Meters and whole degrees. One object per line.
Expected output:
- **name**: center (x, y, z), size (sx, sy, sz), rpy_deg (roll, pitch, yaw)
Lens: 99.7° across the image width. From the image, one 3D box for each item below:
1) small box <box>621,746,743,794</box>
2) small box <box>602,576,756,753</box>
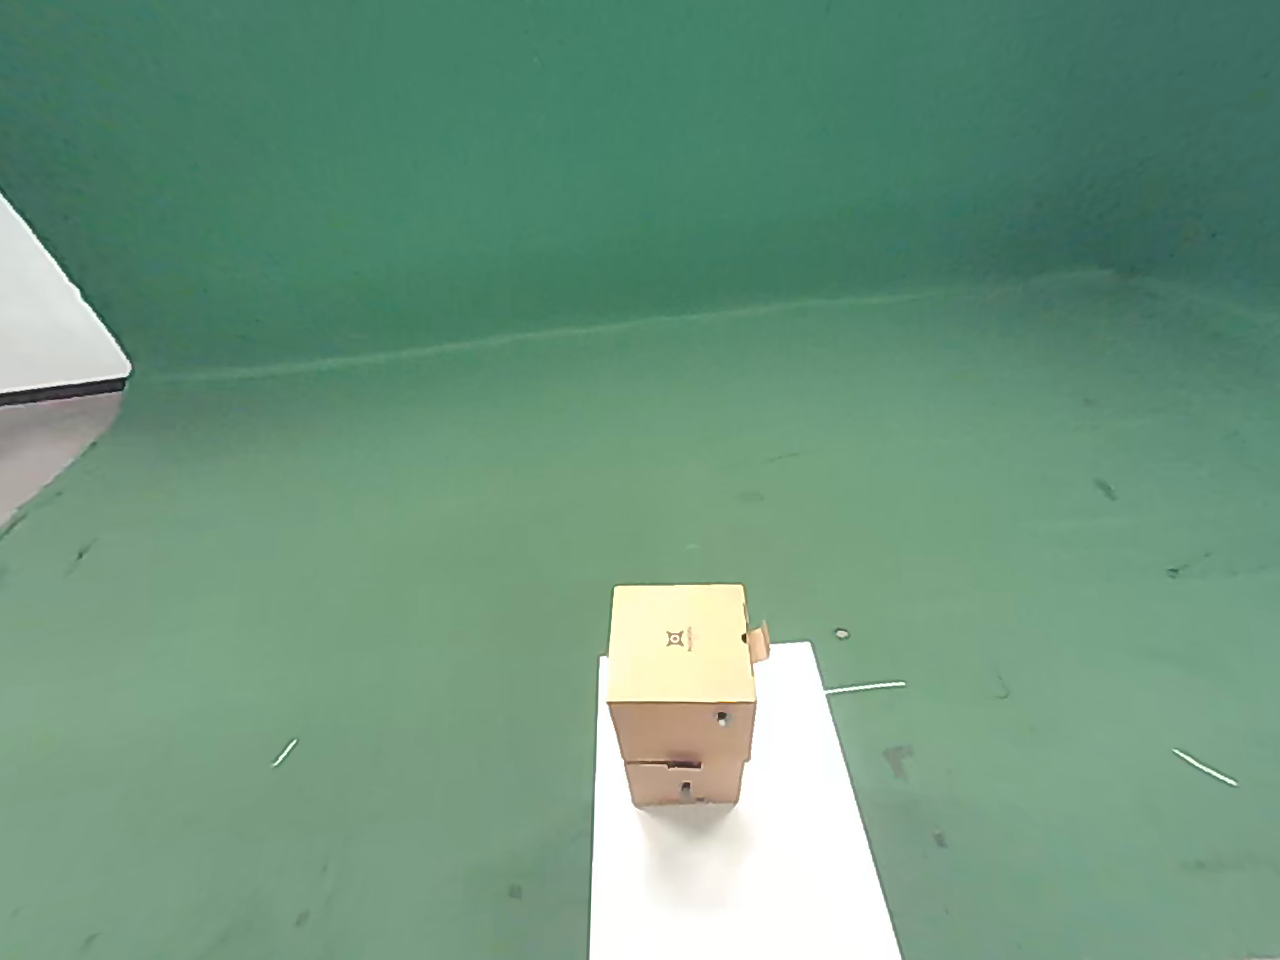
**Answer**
- **small box**: center (0.063, 0.364, 0.827), size (0.168, 0.176, 0.179), rpy_deg (-4, 43, 2)
- **small box**: center (0.053, 0.245, 0.715), size (0.179, 0.176, 0.168), rpy_deg (-2, 42, 4)
